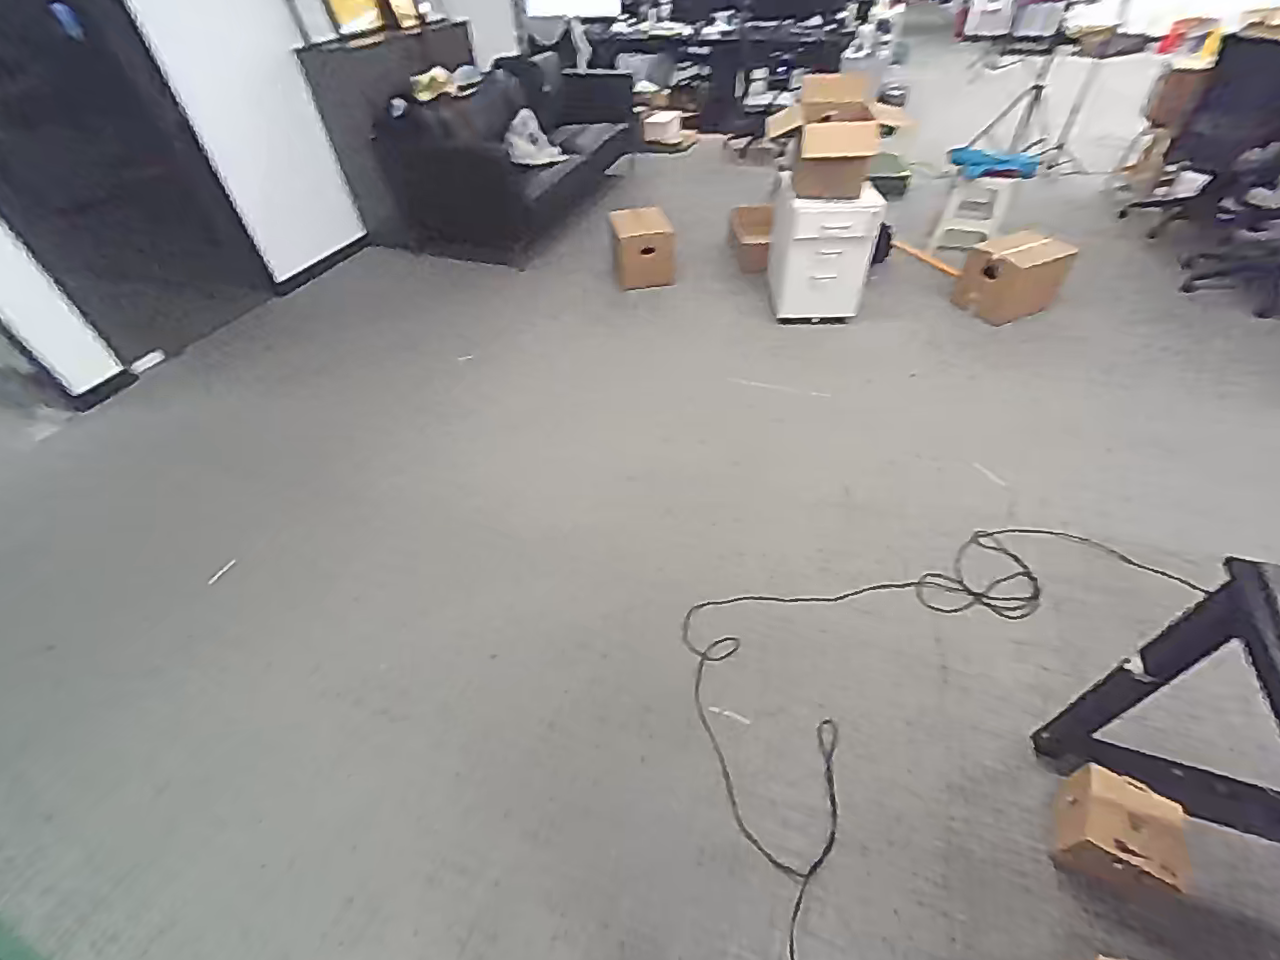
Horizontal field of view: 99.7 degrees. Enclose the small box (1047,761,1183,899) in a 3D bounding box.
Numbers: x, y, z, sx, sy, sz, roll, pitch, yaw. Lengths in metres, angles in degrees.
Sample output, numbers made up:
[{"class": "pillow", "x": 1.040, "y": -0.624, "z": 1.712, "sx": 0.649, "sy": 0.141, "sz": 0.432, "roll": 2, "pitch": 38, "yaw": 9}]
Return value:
[{"class": "small box", "x": 1.022, "y": 0.761, "z": 1.176, "sx": 0.168, "sy": 0.176, "sz": 0.179, "roll": 22, "pitch": 49, "yaw": 24}]
